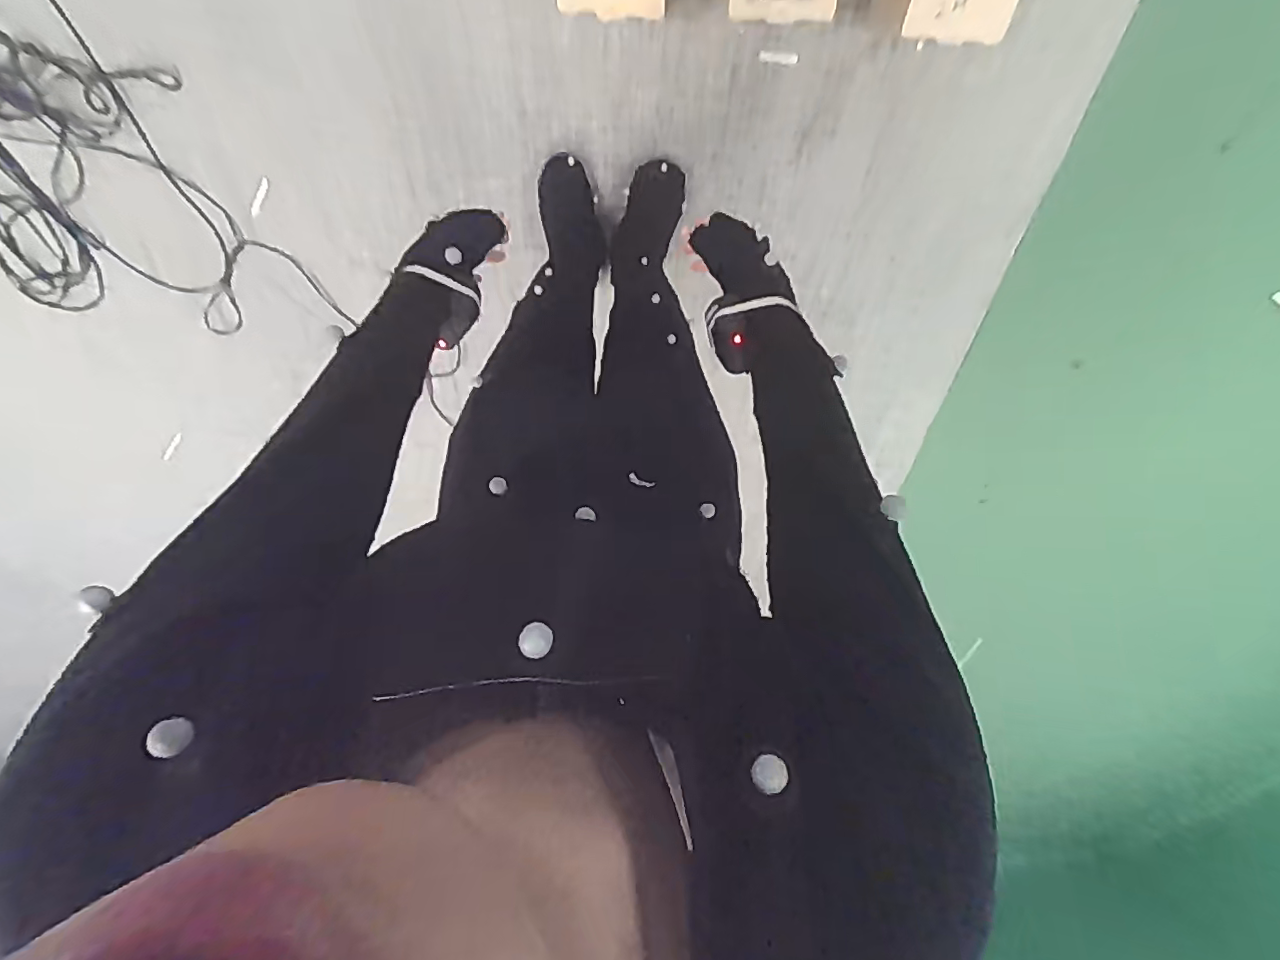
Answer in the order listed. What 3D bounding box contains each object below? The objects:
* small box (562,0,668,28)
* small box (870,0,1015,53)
[{"bbox_3d":[-0.034,-0.836,0.853,0.168,0.176,0.179,4,131,-2],"label":"small box"},{"bbox_3d":[0.496,-0.810,0.869,0.168,0.176,0.179,3,132,-2],"label":"small box"}]
